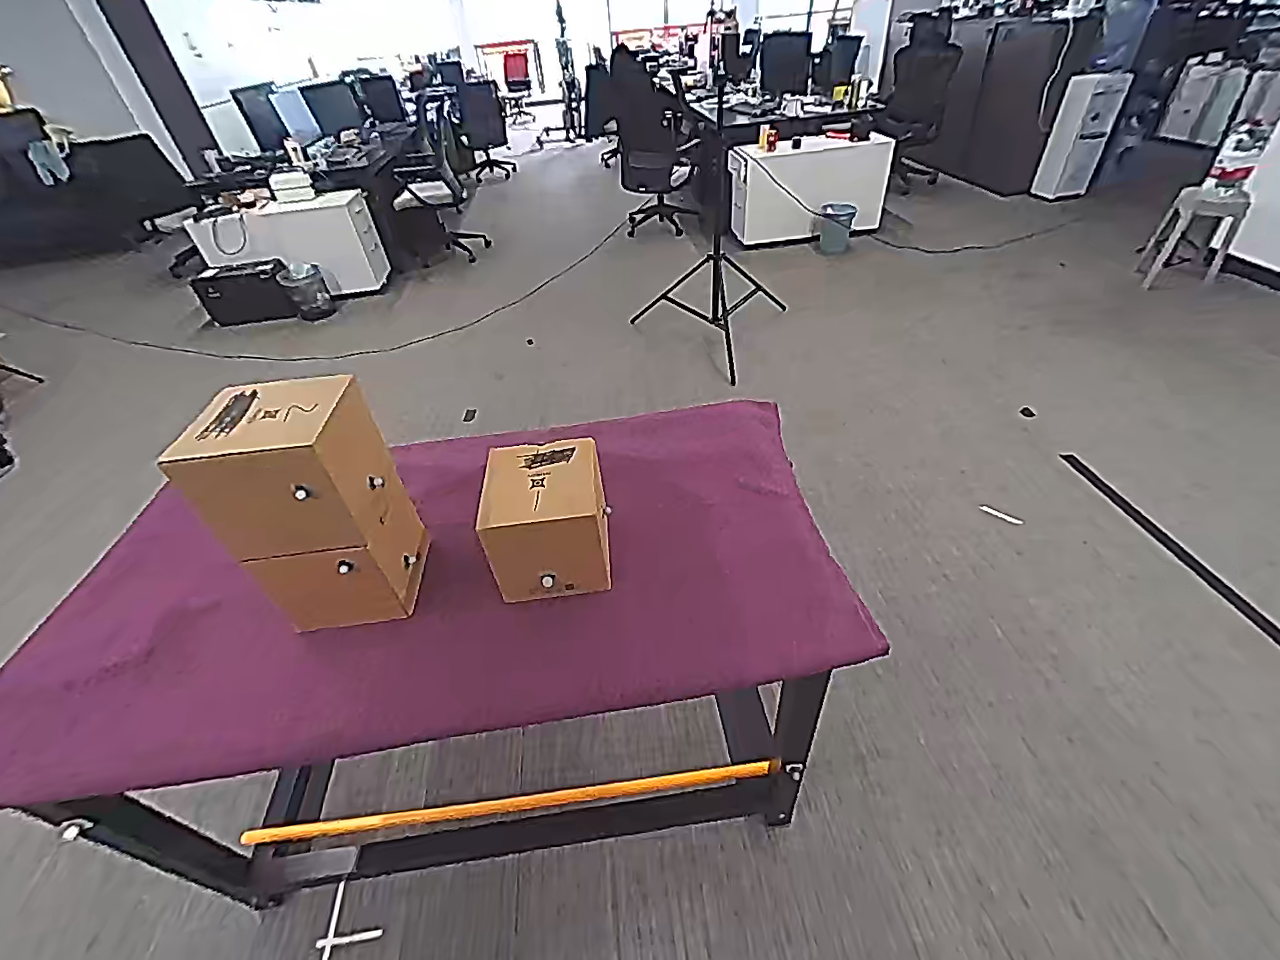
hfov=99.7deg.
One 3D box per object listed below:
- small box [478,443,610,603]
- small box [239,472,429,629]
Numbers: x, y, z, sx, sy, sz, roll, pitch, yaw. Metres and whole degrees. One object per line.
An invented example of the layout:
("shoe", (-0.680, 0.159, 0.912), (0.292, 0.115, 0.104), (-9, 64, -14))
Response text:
("small box", (-0.139, 0.065, 0.844), (0.168, 0.176, 0.179), (-7, 41, -1))
("small box", (-0.450, 0.110, 0.830), (0.179, 0.176, 0.168), (-7, 40, -3))
